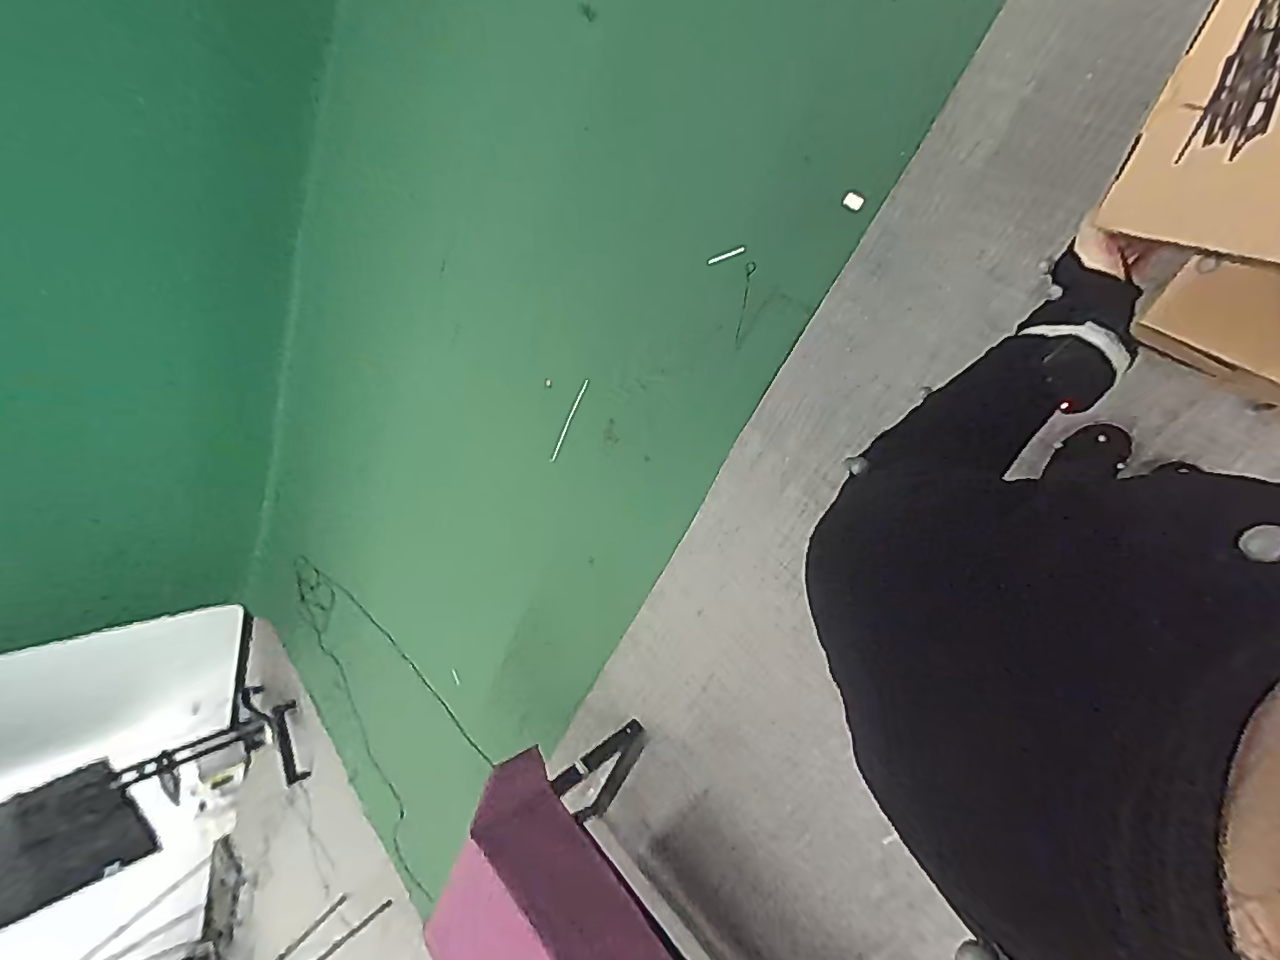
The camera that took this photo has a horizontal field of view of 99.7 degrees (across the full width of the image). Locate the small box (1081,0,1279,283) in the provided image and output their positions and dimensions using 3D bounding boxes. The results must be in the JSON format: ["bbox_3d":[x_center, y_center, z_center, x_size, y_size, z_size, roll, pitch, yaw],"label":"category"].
[{"bbox_3d":[0.465,-0.234,0.377,0.179,0.176,0.168,35,127,34],"label":"small box"}]
